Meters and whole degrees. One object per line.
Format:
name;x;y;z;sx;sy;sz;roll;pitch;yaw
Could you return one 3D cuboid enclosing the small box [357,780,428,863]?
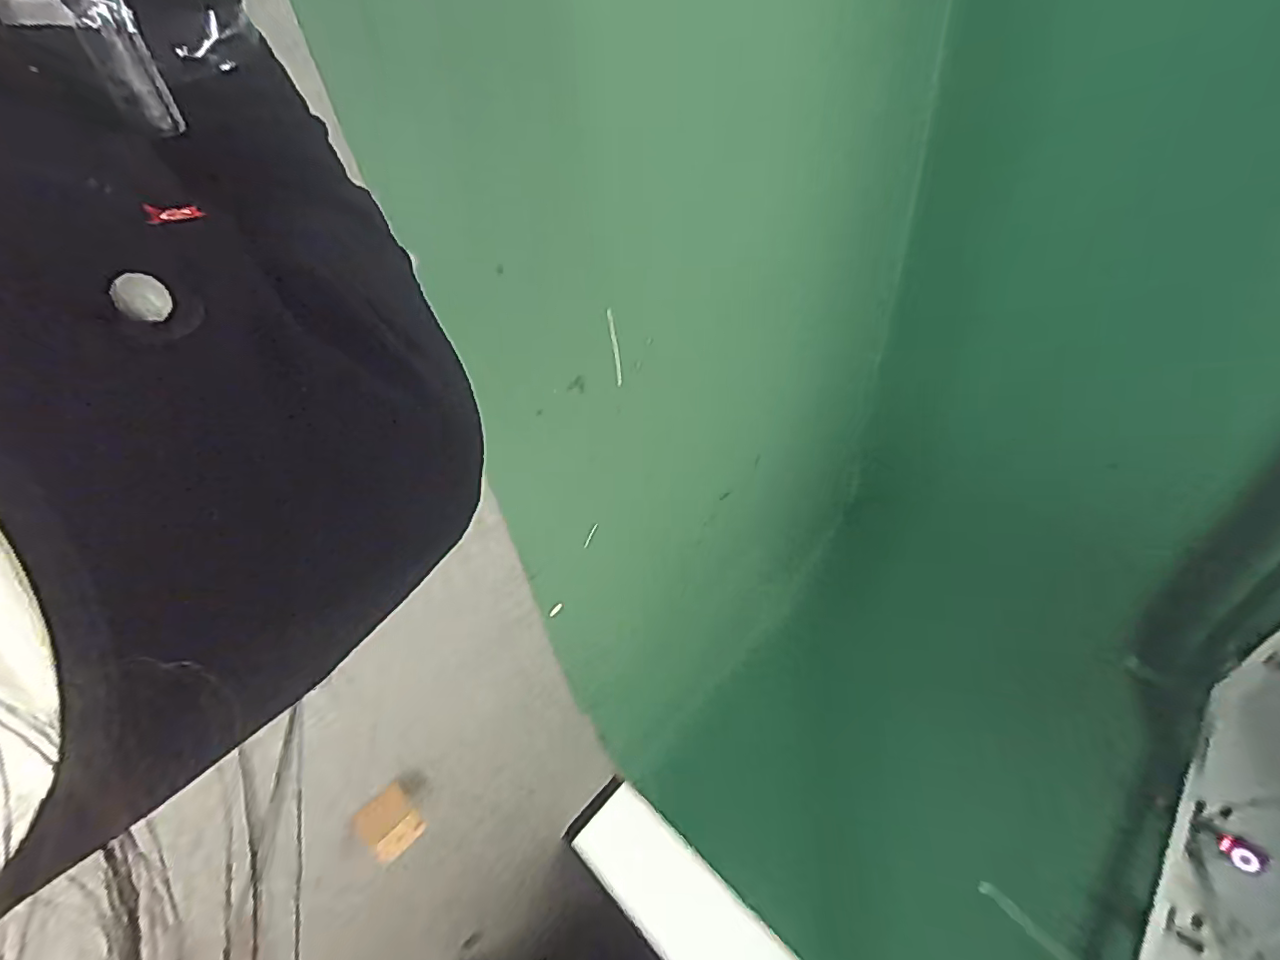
small box;-0.954;1.303;2.071;0.179;0.176;0.168;-35;137;-30
